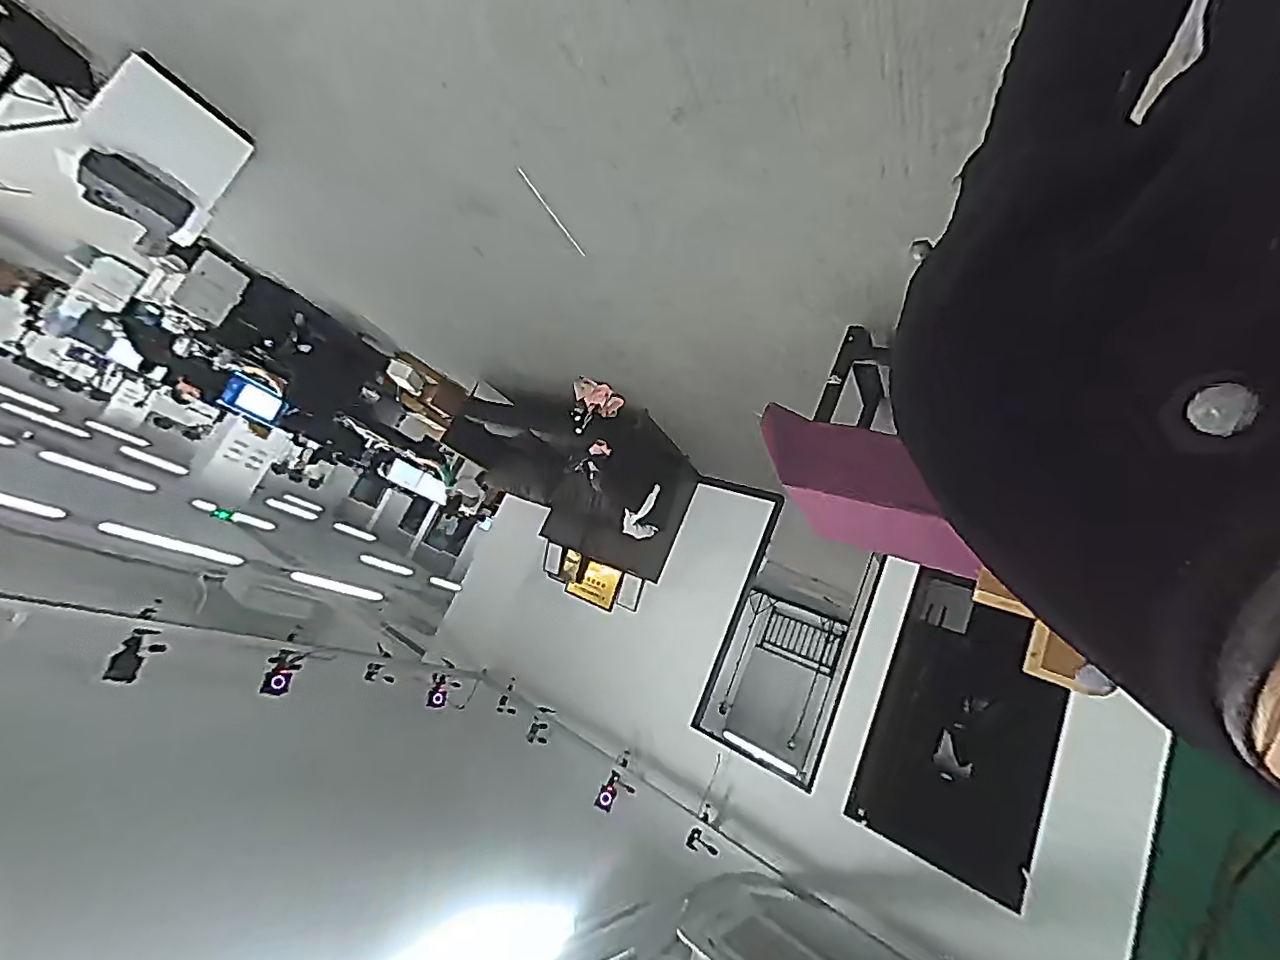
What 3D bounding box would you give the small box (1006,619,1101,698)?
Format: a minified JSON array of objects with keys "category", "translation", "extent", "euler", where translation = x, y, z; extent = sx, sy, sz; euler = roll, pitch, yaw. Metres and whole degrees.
[{"category":"small box","translation":[1.210,0.521,1.584],"extent":[0.168,0.176,0.179],"euler":[19,166,25]}]
